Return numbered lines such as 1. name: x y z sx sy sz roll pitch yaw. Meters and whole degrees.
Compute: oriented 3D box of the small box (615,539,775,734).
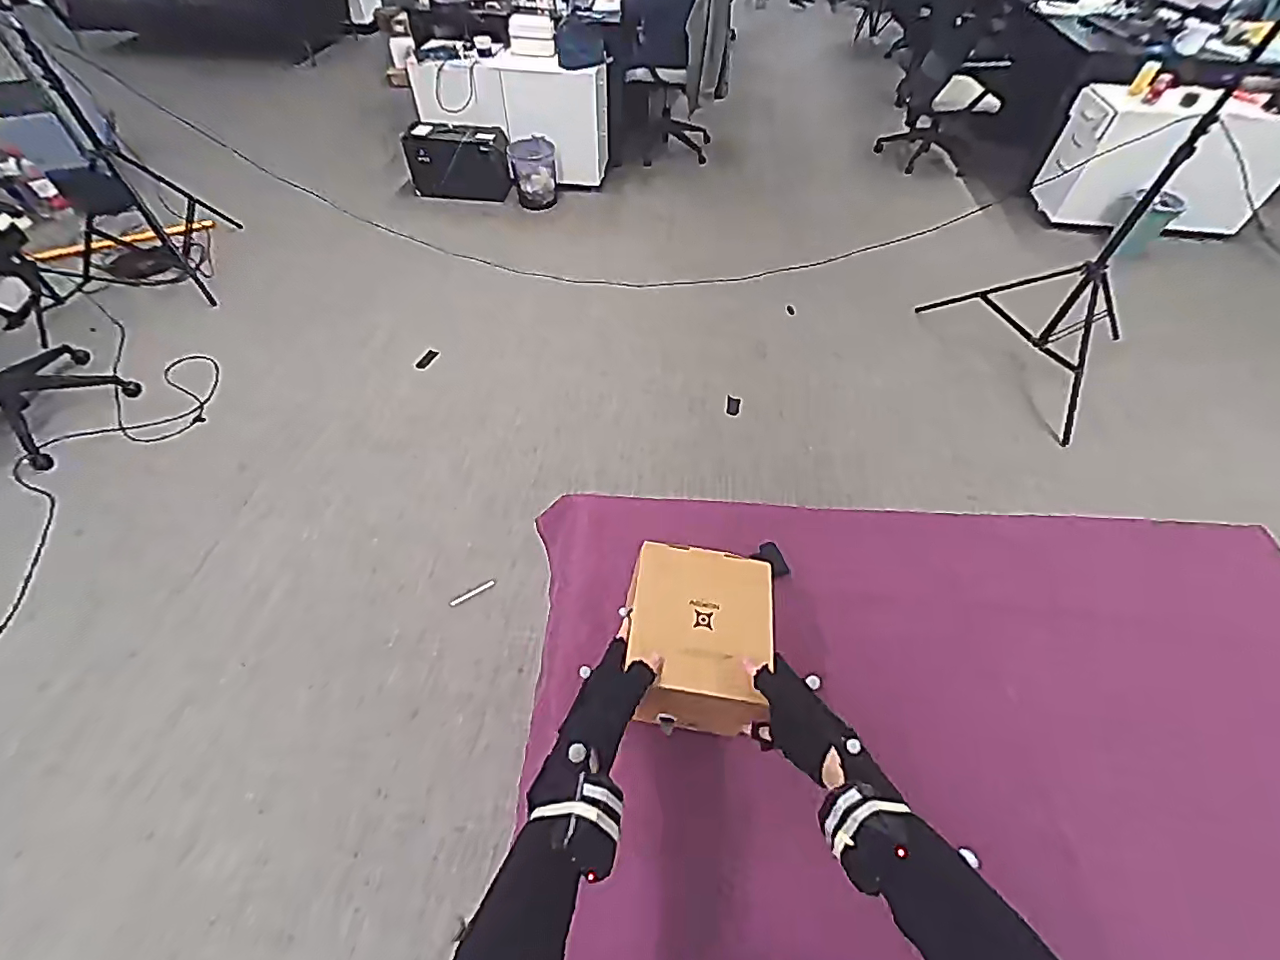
1. small box: 0.064 0.201 0.682 0.168 0.176 0.179 10 54 -1
